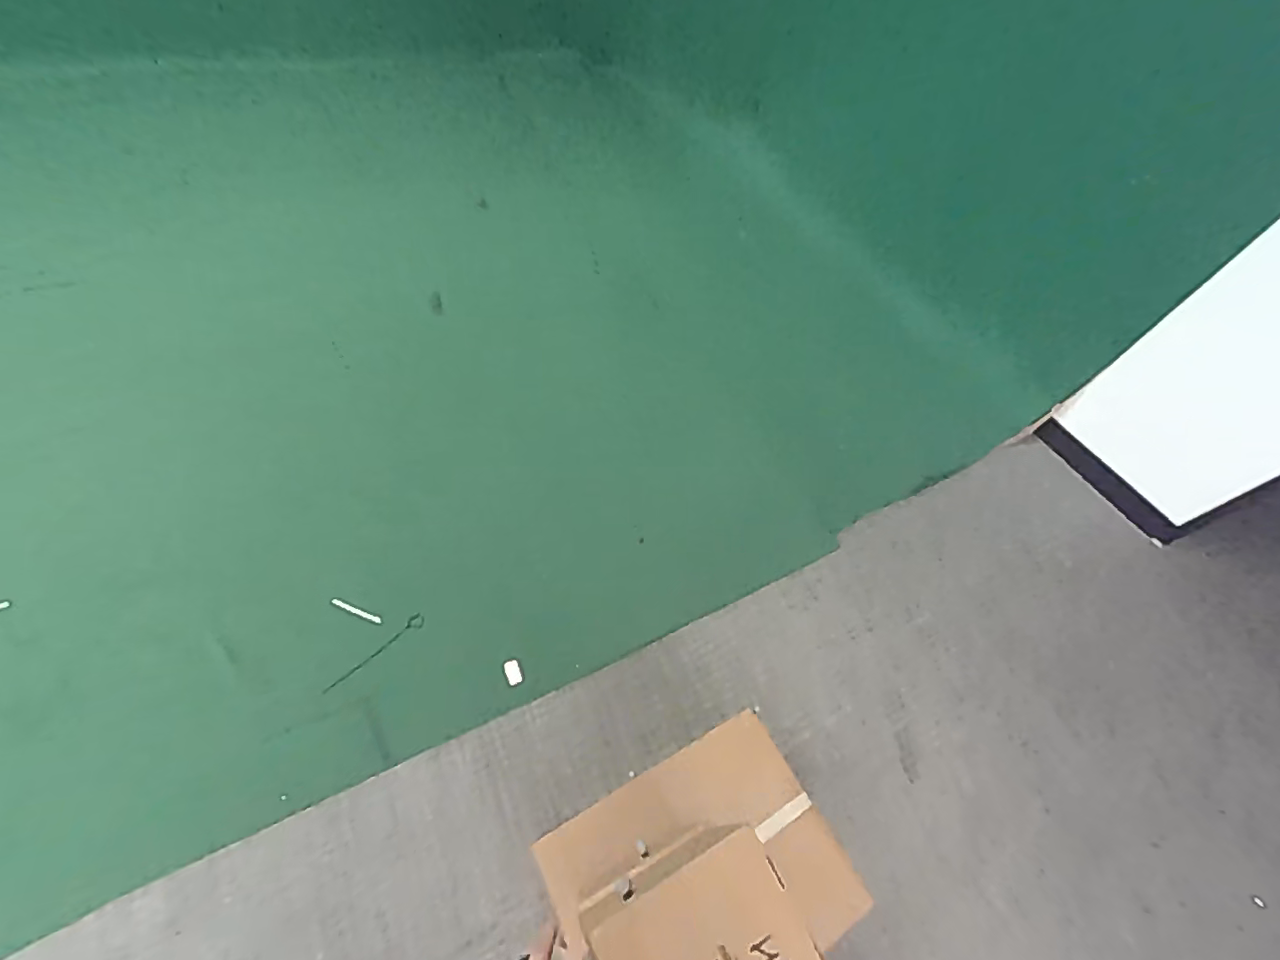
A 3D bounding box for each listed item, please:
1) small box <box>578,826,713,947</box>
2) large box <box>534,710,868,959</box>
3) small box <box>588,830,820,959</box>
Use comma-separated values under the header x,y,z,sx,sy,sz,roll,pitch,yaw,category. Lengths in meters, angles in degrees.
x,y,z,sx,sy,sz,roll,pitch,yaw,category
0.034,0.557,0.659,0.179,0.176,0.168,-19,61,-22,small box
0.070,0.657,0.895,0.408,0.320,0.320,-21,62,-23,large box
0.059,0.471,0.520,0.179,0.176,0.168,-19,61,-22,small box
